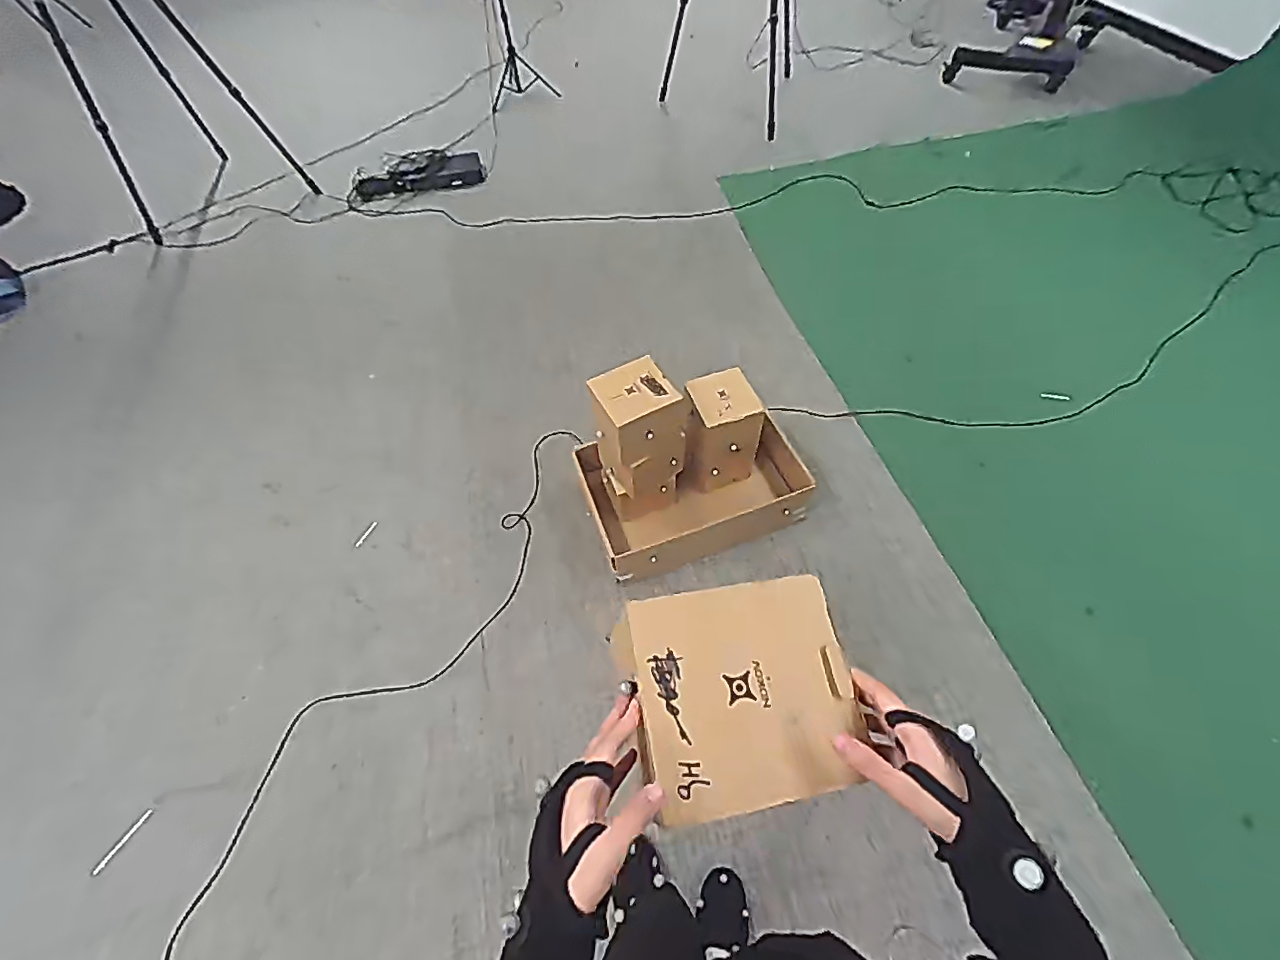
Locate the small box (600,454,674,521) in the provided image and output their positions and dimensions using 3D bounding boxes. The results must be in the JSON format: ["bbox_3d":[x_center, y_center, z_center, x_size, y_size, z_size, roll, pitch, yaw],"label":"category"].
[{"bbox_3d":[-0.006,0.000,1.616,0.179,0.176,0.168,-18,59,-9],"label":"small box"}]

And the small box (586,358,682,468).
[{"bbox_3d":[-0.015,-0.162,1.332,0.179,0.176,0.168,-26,60,-14],"label":"small box"}]

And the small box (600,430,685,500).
[{"bbox_3d":[0.001,-0.079,1.474,0.179,0.176,0.168,-32,62,-17],"label":"small box"}]

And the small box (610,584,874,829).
[{"bbox_3d":[0.074,0.208,0.504,0.179,0.176,0.168,-5,62,-11],"label":"small box"}]

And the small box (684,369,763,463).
[{"bbox_3d":[0.226,-0.177,1.519,0.168,0.176,0.179,-17,58,-6],"label":"small box"}]
